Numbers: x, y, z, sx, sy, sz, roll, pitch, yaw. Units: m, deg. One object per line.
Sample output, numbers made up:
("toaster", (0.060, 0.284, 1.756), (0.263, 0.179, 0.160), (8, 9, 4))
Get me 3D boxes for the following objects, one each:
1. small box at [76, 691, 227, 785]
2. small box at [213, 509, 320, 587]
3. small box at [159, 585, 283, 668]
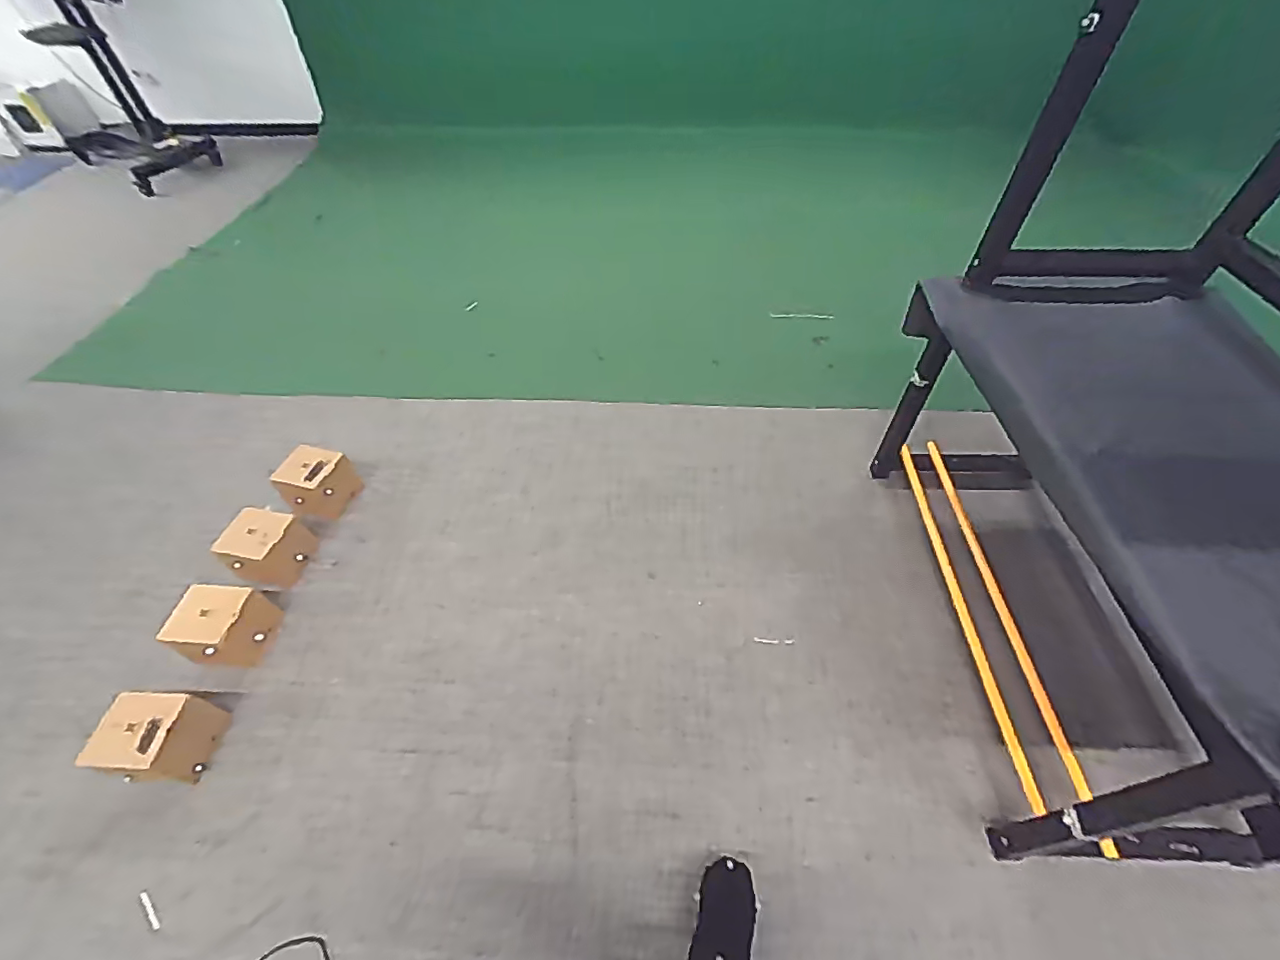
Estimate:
("small box", (-1.160, 0.625, 1.305), (0.179, 0.176, 0.168), (1, 49, 3))
("small box", (-1.140, 0.212, 1.663), (0.179, 0.176, 0.168), (9, 50, 7))
("small box", (-1.146, 0.407, 1.496), (0.179, 0.176, 0.168), (3, 49, 2))
